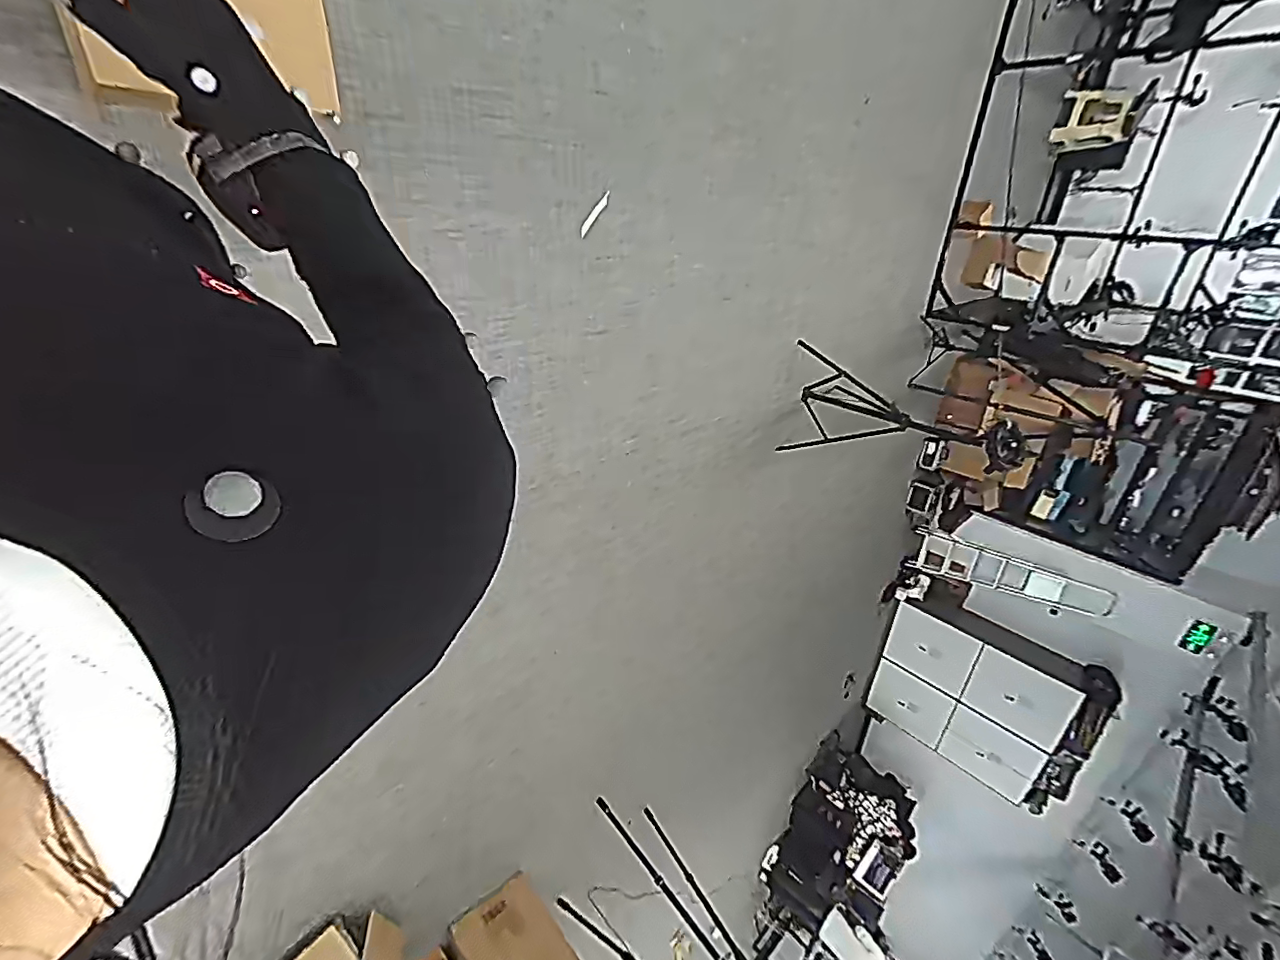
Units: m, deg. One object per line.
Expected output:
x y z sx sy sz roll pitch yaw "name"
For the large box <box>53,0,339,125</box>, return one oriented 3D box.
-0.724 -0.810 0.838 0.320 0.320 0.408 -21 127 -38 "large box"
